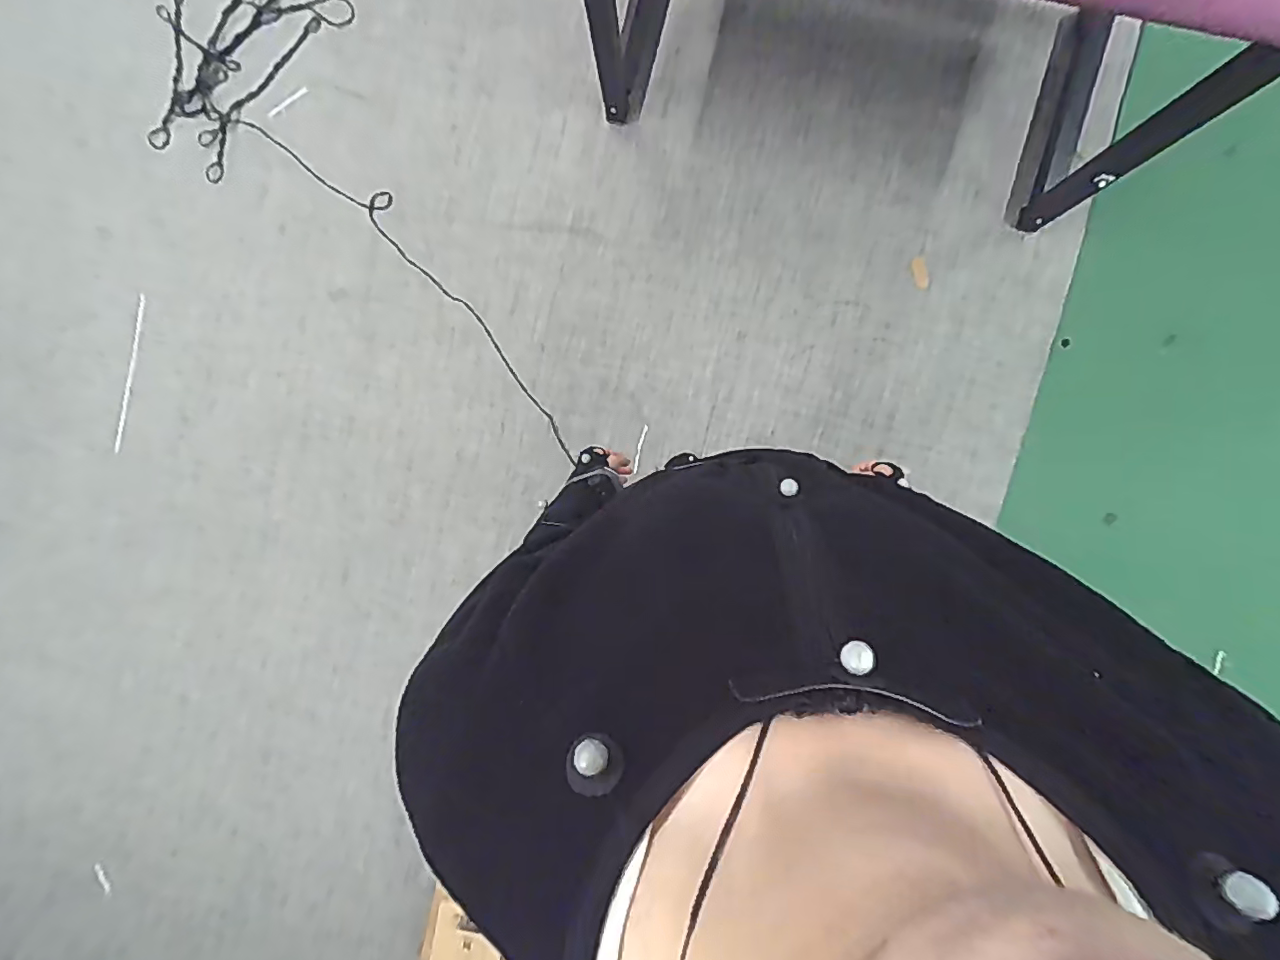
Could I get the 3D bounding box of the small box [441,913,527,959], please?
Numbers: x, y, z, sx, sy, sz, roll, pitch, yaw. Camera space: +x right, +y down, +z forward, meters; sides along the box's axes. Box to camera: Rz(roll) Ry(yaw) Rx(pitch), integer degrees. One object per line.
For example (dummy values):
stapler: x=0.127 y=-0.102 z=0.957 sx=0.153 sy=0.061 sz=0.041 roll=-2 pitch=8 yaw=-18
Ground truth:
small box: x=-0.436 y=1.303 z=1.488 sx=0.179 sy=0.176 sz=0.168 roll=30 pitch=94 yaw=3
